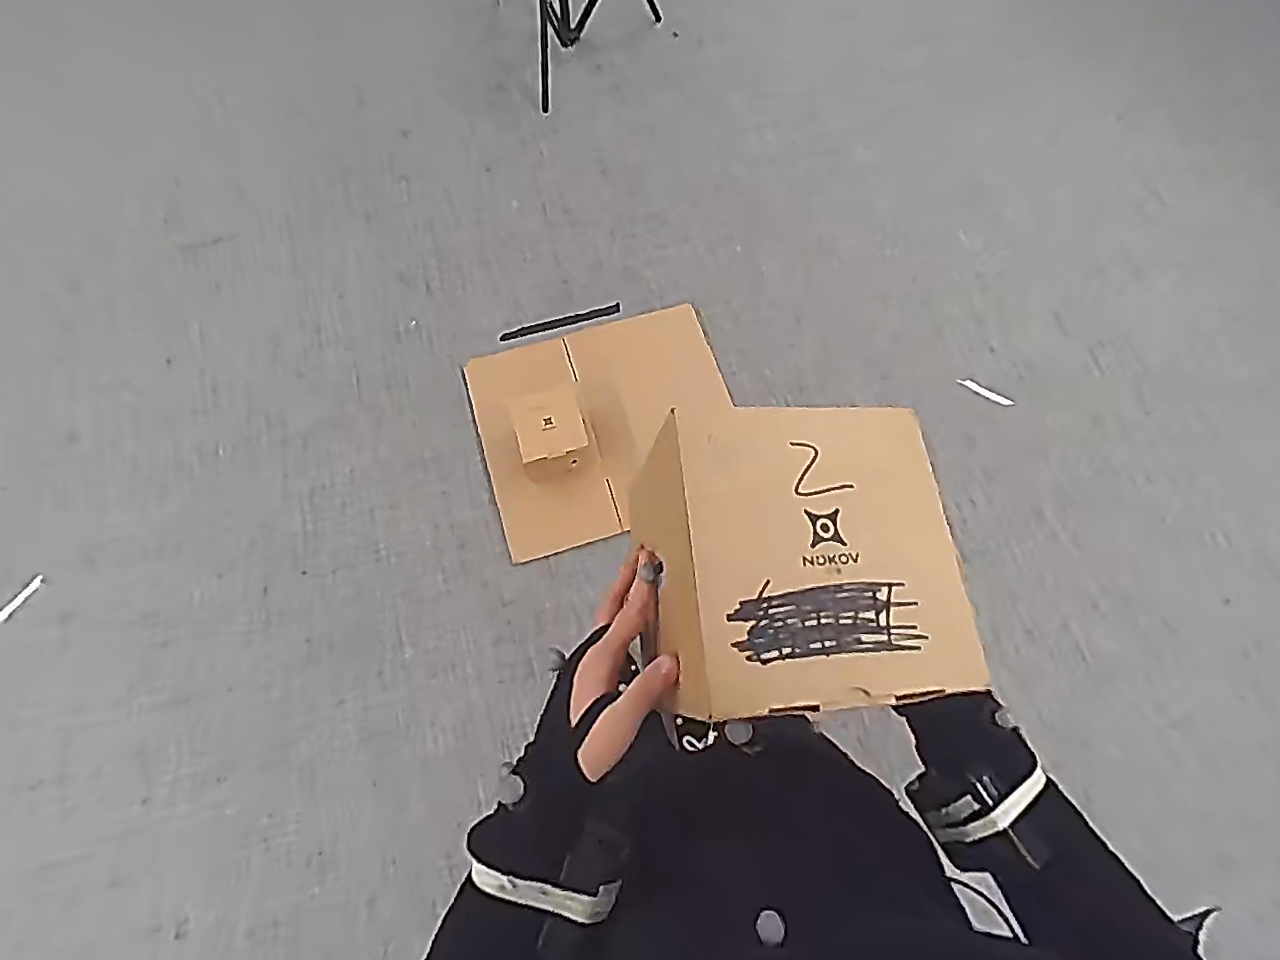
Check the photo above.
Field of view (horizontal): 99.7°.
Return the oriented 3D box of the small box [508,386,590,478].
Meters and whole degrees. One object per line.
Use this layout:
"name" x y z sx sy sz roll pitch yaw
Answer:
"small box" -0.228 -0.115 1.397 0.168 0.176 0.179 -15 74 -7
